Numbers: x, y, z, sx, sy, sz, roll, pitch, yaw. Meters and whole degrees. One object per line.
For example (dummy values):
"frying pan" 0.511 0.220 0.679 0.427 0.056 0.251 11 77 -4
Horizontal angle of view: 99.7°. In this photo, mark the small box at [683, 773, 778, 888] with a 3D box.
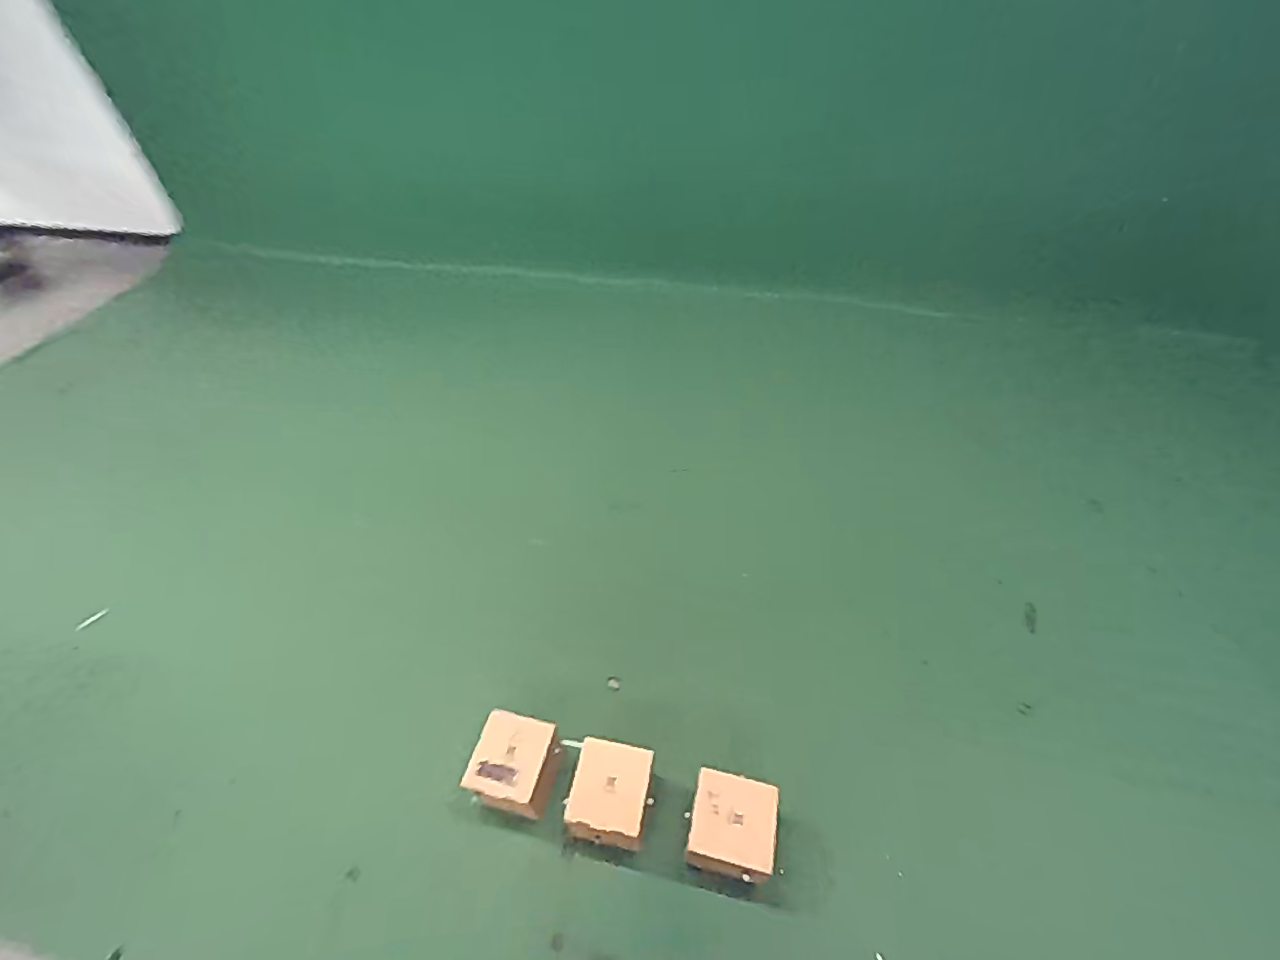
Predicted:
"small box" 0.199 0.786 1.208 0.179 0.176 0.168 11 48 10

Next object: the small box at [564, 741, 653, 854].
"small box" -0.068 0.740 1.260 0.168 0.176 0.179 9 49 9
